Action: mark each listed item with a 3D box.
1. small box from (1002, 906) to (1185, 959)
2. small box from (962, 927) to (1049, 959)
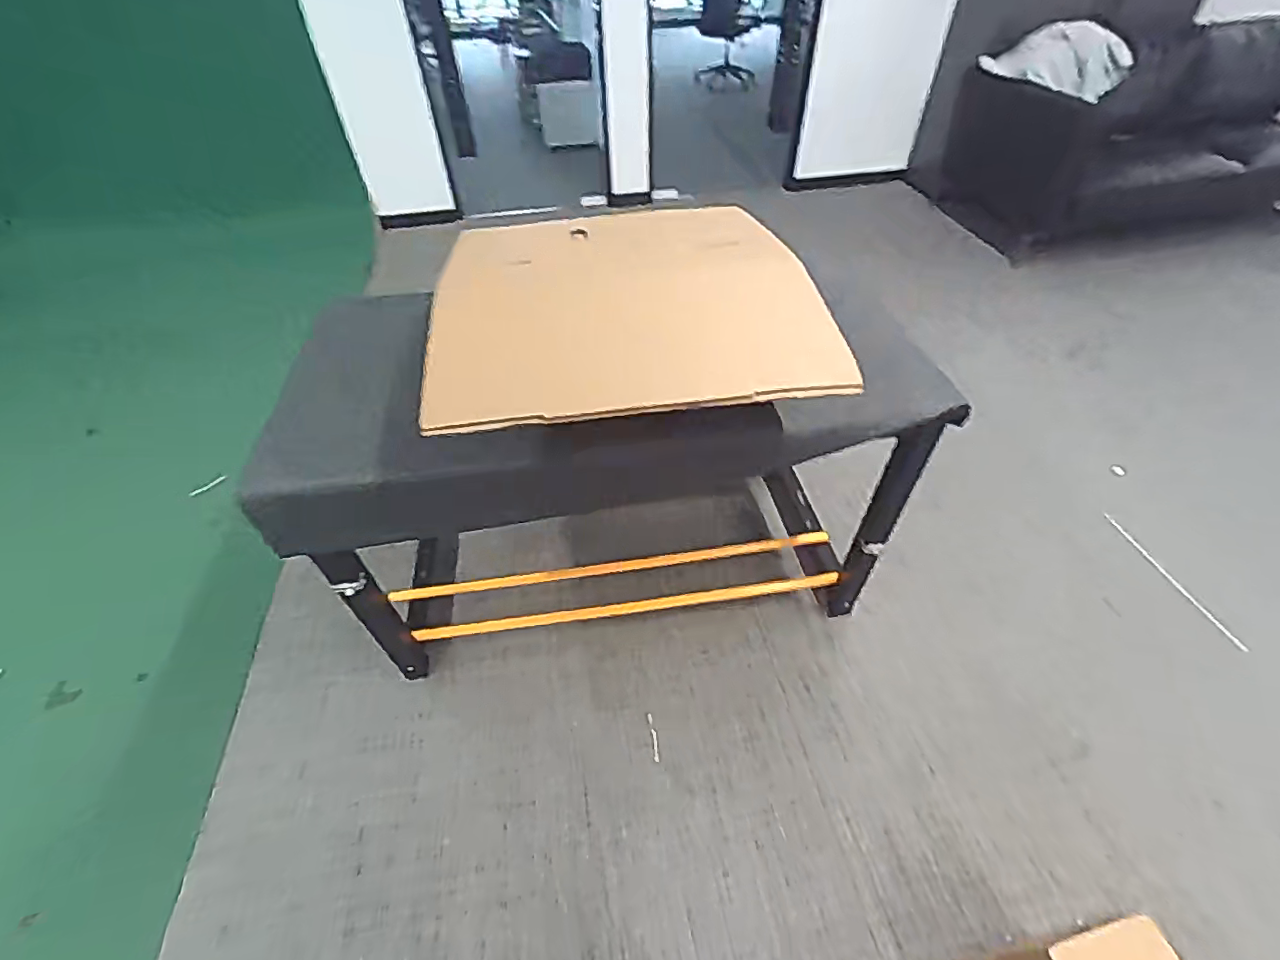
[{"bbox_3d":[0.678,0.748,0.780,0.179,0.176,0.168,-12,47,-9],"label":"small box"},{"bbox_3d":[0.679,0.868,0.892,0.168,0.176,0.179,-12,47,-9],"label":"small box"}]
